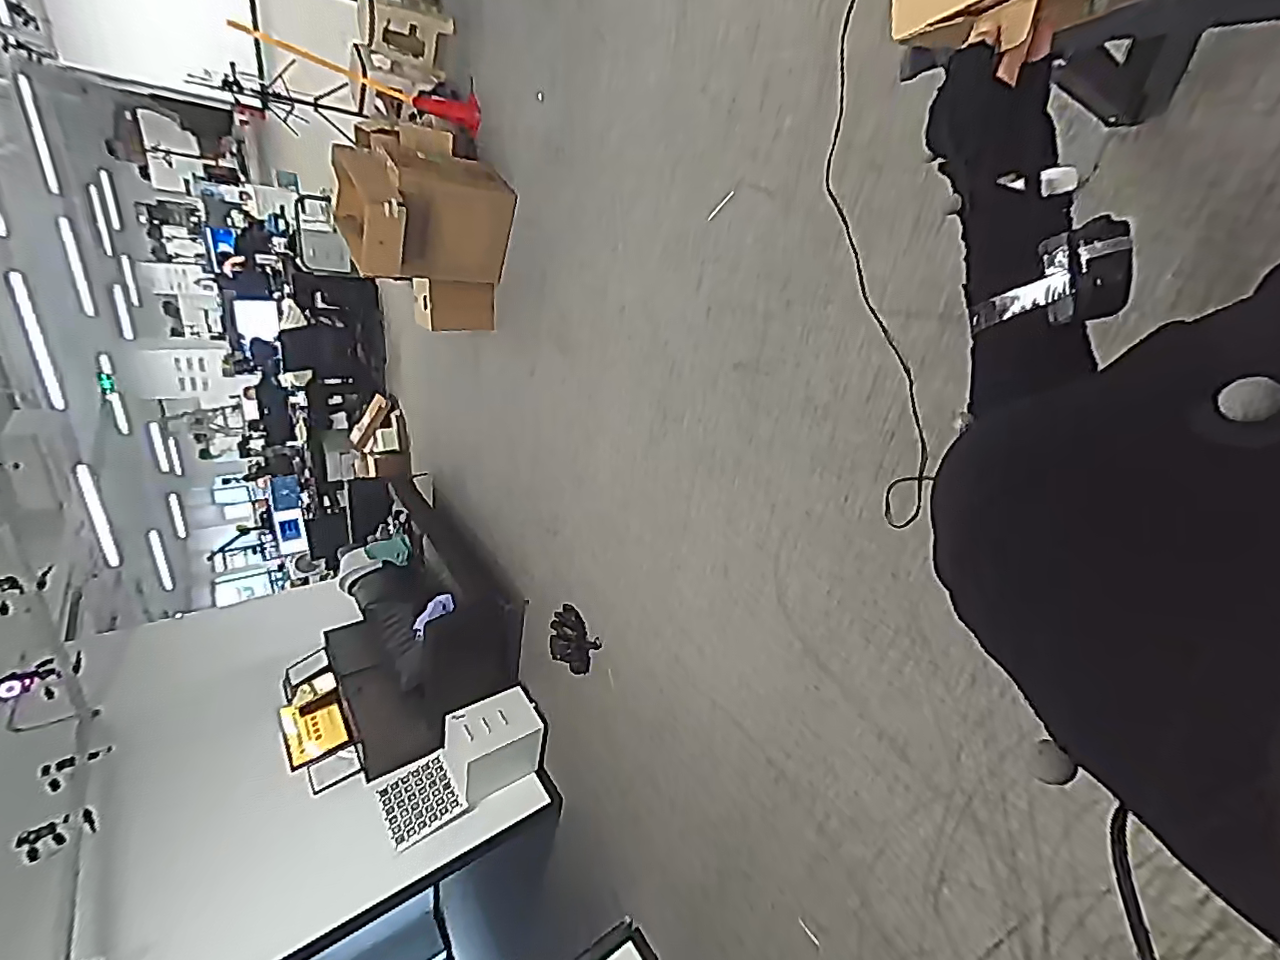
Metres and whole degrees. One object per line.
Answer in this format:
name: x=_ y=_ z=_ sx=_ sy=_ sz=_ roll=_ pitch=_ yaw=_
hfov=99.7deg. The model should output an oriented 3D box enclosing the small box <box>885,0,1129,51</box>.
small box: x=0.304 y=-0.445 z=0.391 sx=0.168 sy=0.176 sz=0.179 roll=23 pitch=127 yaw=54
